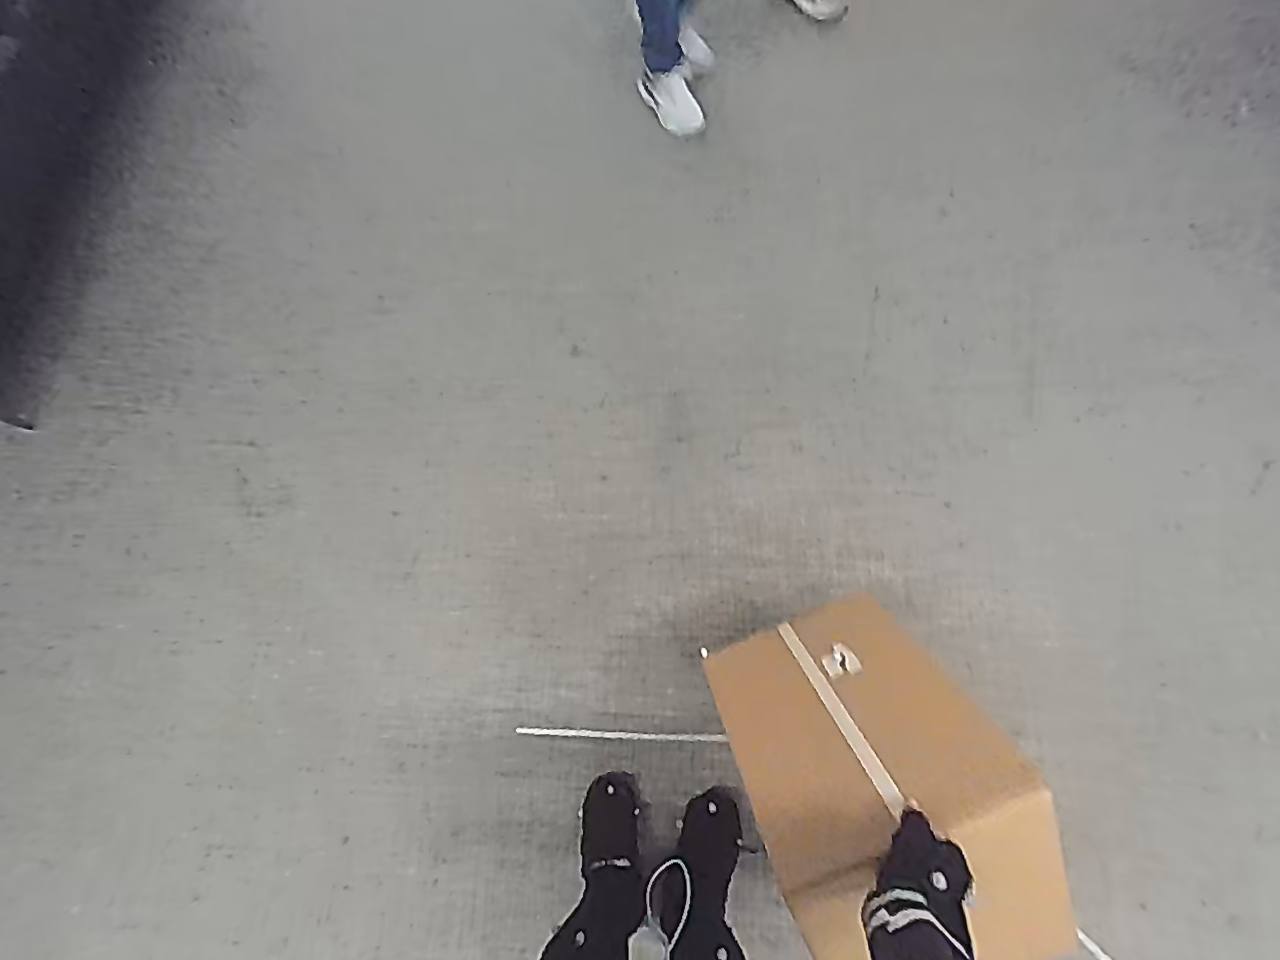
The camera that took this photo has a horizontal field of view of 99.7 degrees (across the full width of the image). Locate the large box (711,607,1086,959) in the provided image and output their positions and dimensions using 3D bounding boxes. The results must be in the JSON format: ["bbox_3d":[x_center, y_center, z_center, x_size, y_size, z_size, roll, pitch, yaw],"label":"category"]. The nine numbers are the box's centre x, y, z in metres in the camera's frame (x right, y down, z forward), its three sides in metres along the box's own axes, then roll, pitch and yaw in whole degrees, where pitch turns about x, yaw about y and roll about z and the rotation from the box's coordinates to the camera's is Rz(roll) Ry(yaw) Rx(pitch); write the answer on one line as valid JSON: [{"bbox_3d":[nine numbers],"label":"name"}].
[{"bbox_3d":[0.346,0.472,0.816,0.320,0.408,0.320,-22,110,1],"label":"large box"}]
